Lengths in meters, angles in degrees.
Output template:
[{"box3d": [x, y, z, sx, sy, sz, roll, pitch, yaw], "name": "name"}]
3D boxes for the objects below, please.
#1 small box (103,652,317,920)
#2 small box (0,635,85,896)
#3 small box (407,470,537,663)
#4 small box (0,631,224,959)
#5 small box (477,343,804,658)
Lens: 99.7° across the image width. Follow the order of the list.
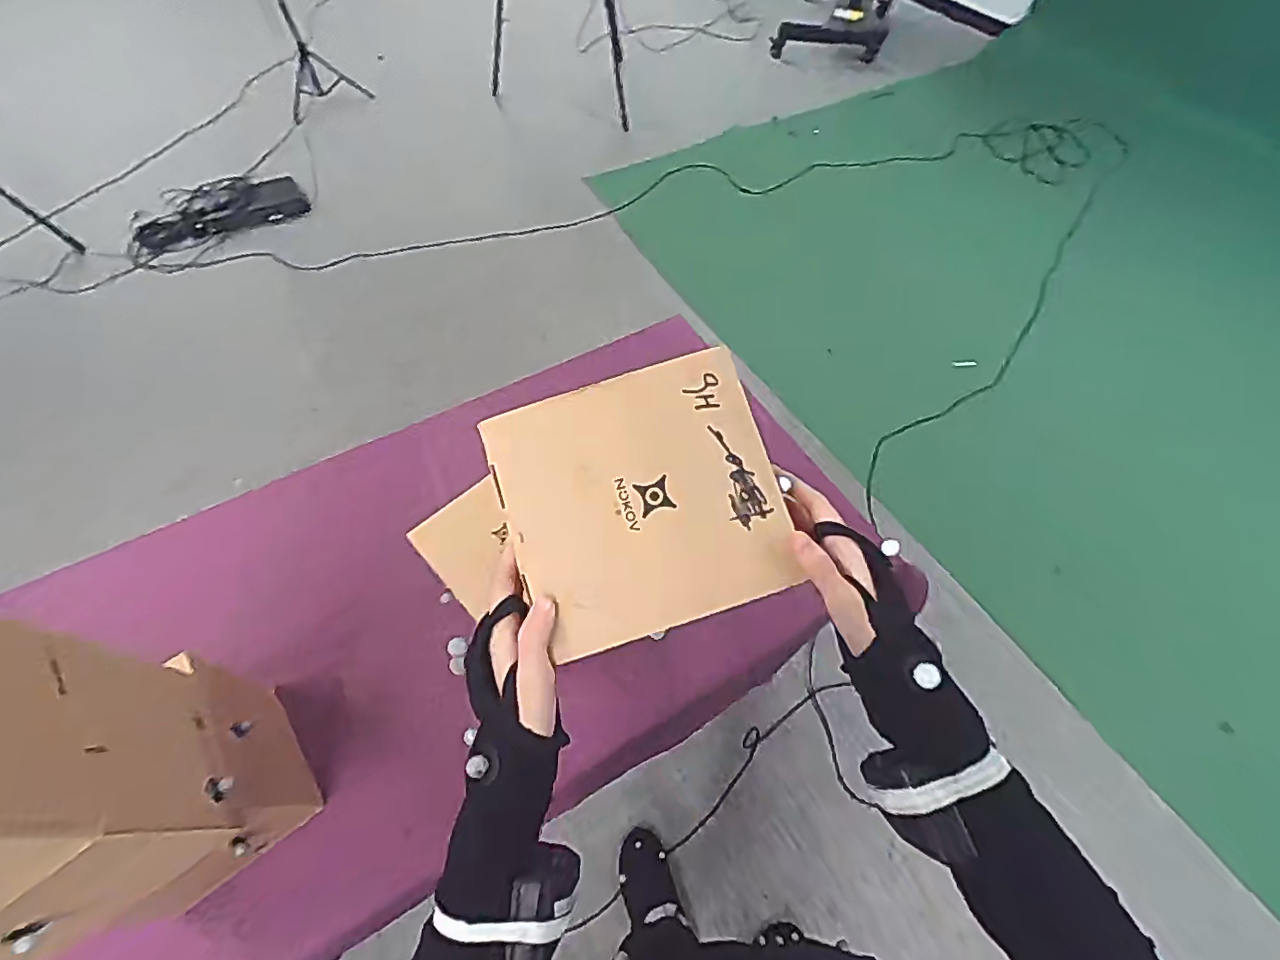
[{"box3d": [-0.481, 0.316, 0.568, 0.168, 0.176, 0.179, -33, 64, -19], "name": "small box"}, {"box3d": [-0.453, 0.170, 0.275, 0.168, 0.176, 0.179, -37, 65, -21], "name": "small box"}, {"box3d": [-0.157, 0.105, 0.692, 0.168, 0.176, 0.179, -40, 66, -20], "name": "small box"}, {"box3d": [-0.468, 0.251, 0.416, 0.179, 0.176, 0.168, -33, 65, -19], "name": "small box"}, {"box3d": [0.001, 0.021, 0.420, 0.179, 0.176, 0.168, -17, 83, 0], "name": "small box"}]
